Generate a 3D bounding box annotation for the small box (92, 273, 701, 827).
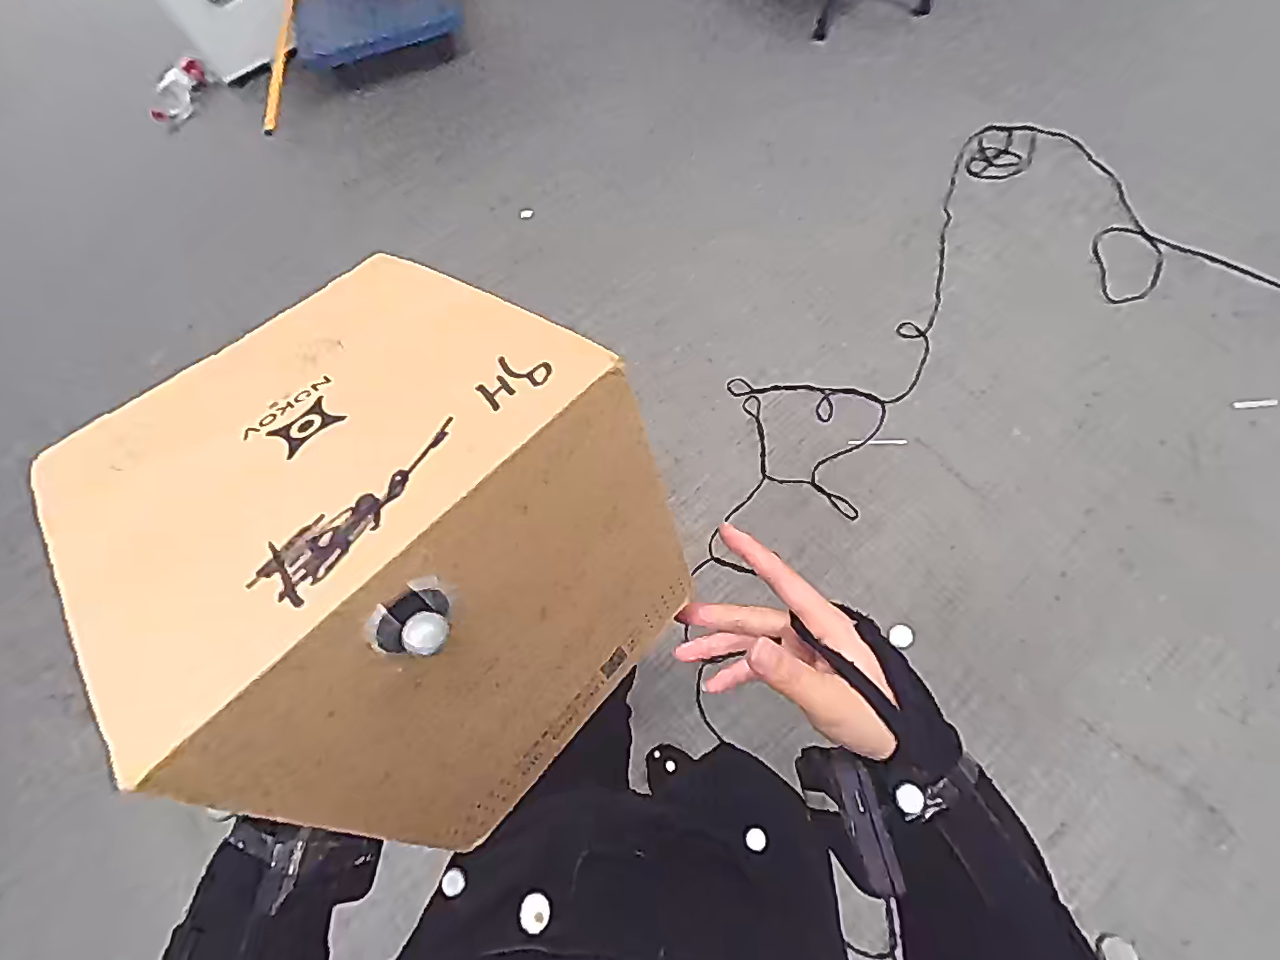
[{"bbox_3d":[-0.093,0.033,0.263,0.179,0.176,0.168,31,67,34],"label":"small box"}]
